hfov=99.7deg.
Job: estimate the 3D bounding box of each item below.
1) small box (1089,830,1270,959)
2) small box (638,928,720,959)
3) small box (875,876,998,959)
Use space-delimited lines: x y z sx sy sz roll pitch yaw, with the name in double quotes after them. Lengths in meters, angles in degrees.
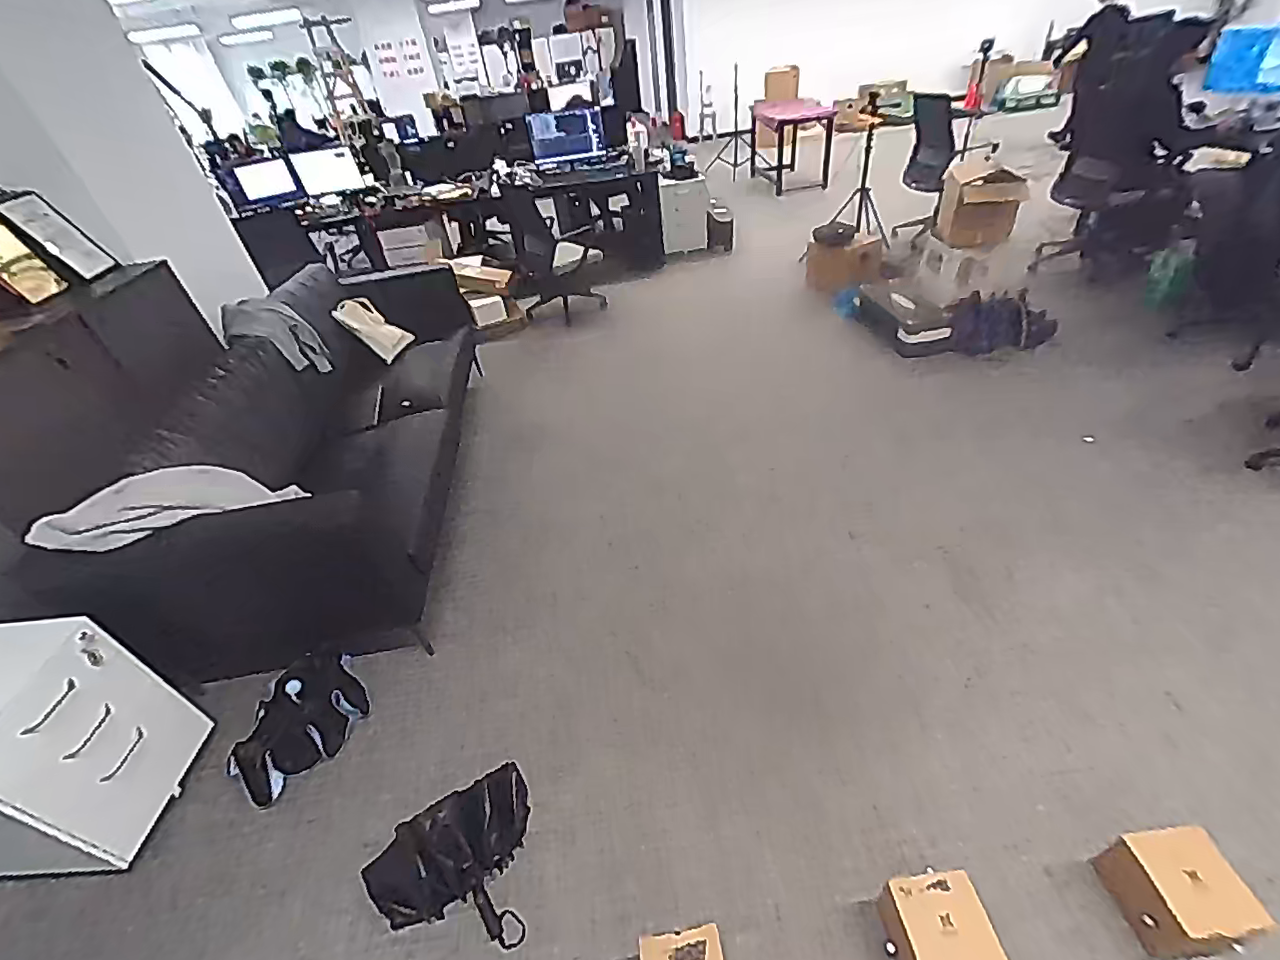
1.099 0.865 1.122 0.168 0.176 0.179 -8 37 0 "small box"
0.092 1.050 1.093 0.168 0.176 0.179 -10 39 -1 "small box"
0.606 0.952 1.113 0.168 0.176 0.179 -9 39 1 "small box"
